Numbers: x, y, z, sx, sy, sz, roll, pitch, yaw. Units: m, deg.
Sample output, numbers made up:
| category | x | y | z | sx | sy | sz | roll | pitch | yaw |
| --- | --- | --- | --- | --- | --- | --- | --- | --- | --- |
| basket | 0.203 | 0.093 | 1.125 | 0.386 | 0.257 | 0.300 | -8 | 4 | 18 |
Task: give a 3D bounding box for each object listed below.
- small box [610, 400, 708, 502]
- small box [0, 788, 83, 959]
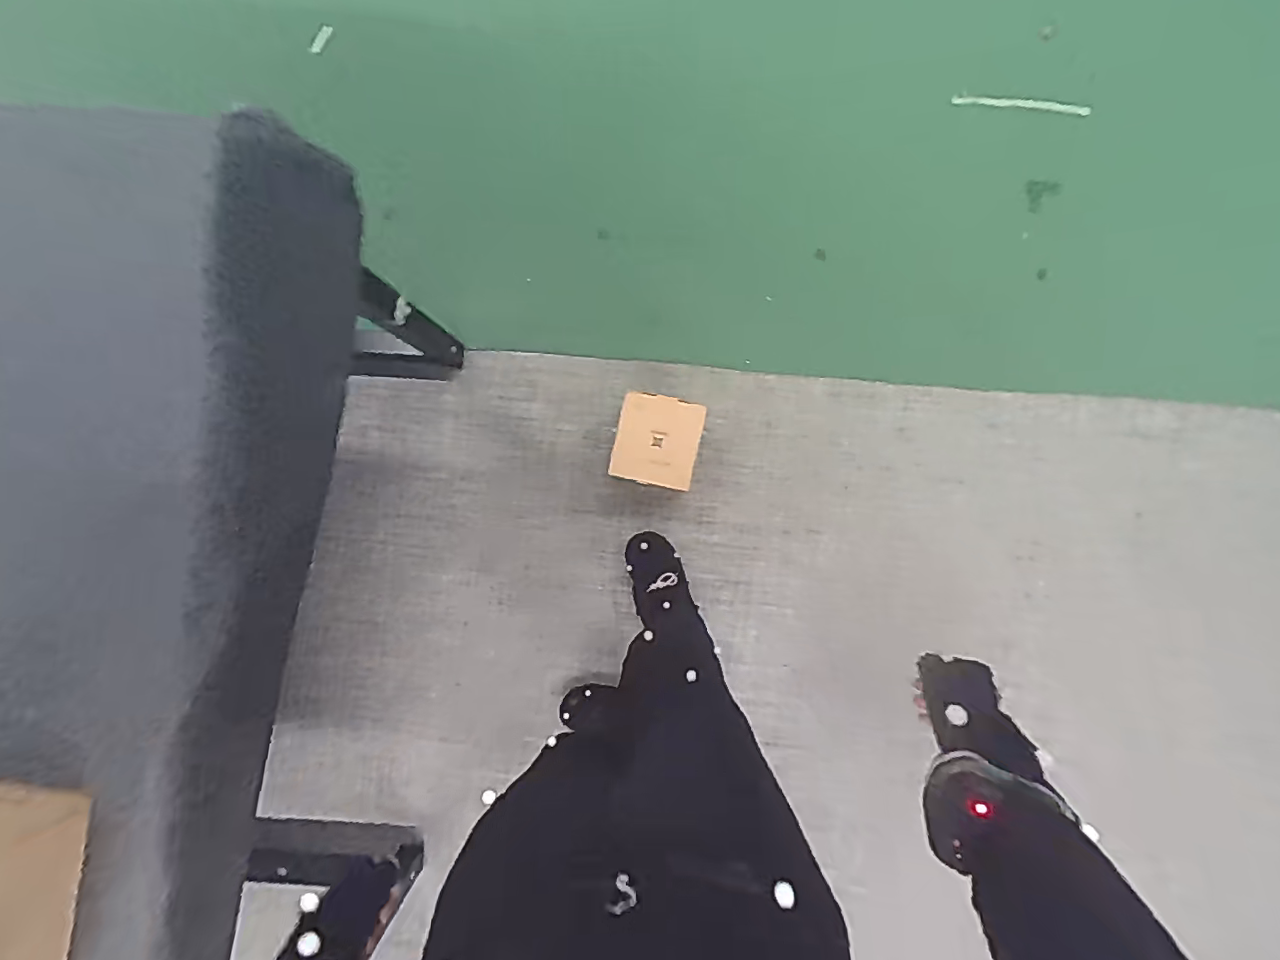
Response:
| category | x | y | z | sx | sy | sz | roll | pitch | yaw |
| --- | --- | --- | --- | --- | --- | --- | --- | --- | --- |
| small box | 0.039 | -0.055 | 1.147 | 0.168 | 0.176 | 0.179 | 12 | 89 | 3 |
| small box | -0.588 | 0.362 | 0.407 | 0.168 | 0.176 | 0.179 | 7 | 88 | 2 |
